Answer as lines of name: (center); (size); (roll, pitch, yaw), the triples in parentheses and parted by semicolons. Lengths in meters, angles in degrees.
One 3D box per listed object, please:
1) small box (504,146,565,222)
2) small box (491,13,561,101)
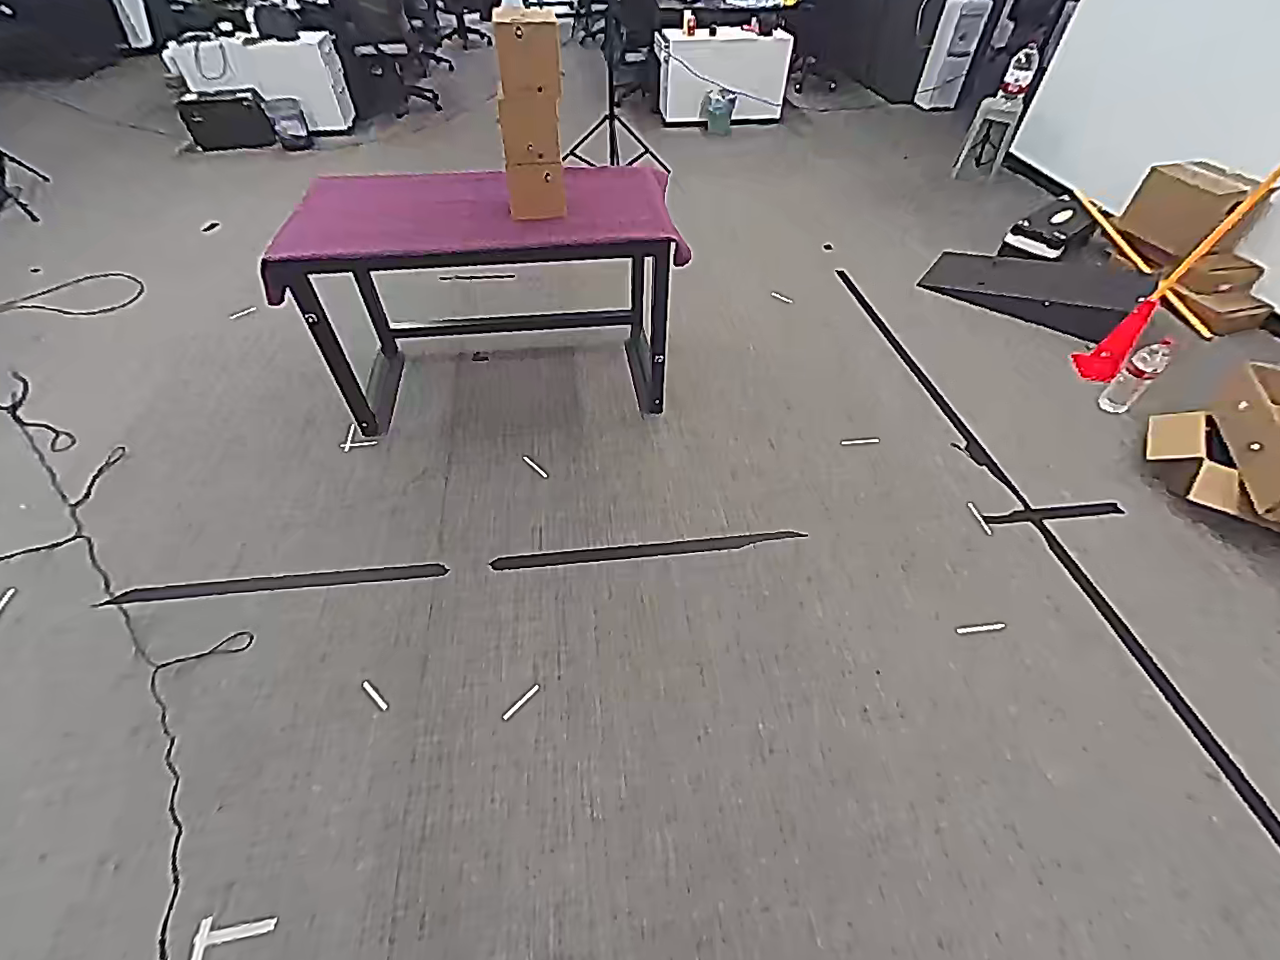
small box: (-0.335, -0.951, 1.740); (0.179, 0.176, 0.168); (-7, 48, -6)
small box: (-0.312, -1.171, 1.497); (0.168, 0.176, 0.179); (-7, 49, -6)
